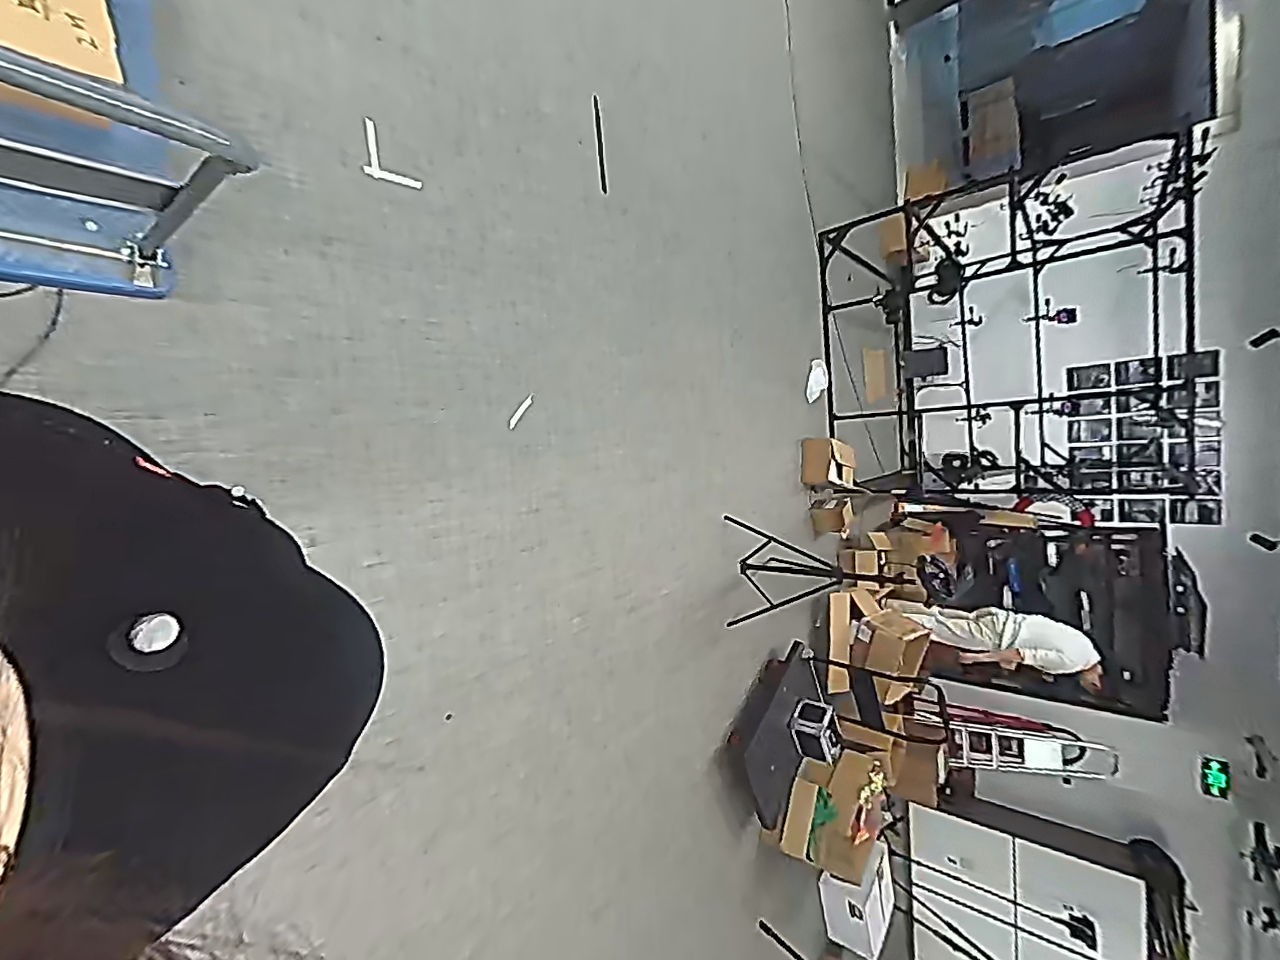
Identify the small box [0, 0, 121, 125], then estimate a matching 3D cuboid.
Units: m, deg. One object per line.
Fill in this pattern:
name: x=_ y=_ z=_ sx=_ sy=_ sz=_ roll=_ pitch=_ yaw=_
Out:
small box: x=-0.983 y=-0.714 z=0.873 sx=0.179 sy=0.176 sz=0.168 roll=-14 pitch=100 yaw=-49
